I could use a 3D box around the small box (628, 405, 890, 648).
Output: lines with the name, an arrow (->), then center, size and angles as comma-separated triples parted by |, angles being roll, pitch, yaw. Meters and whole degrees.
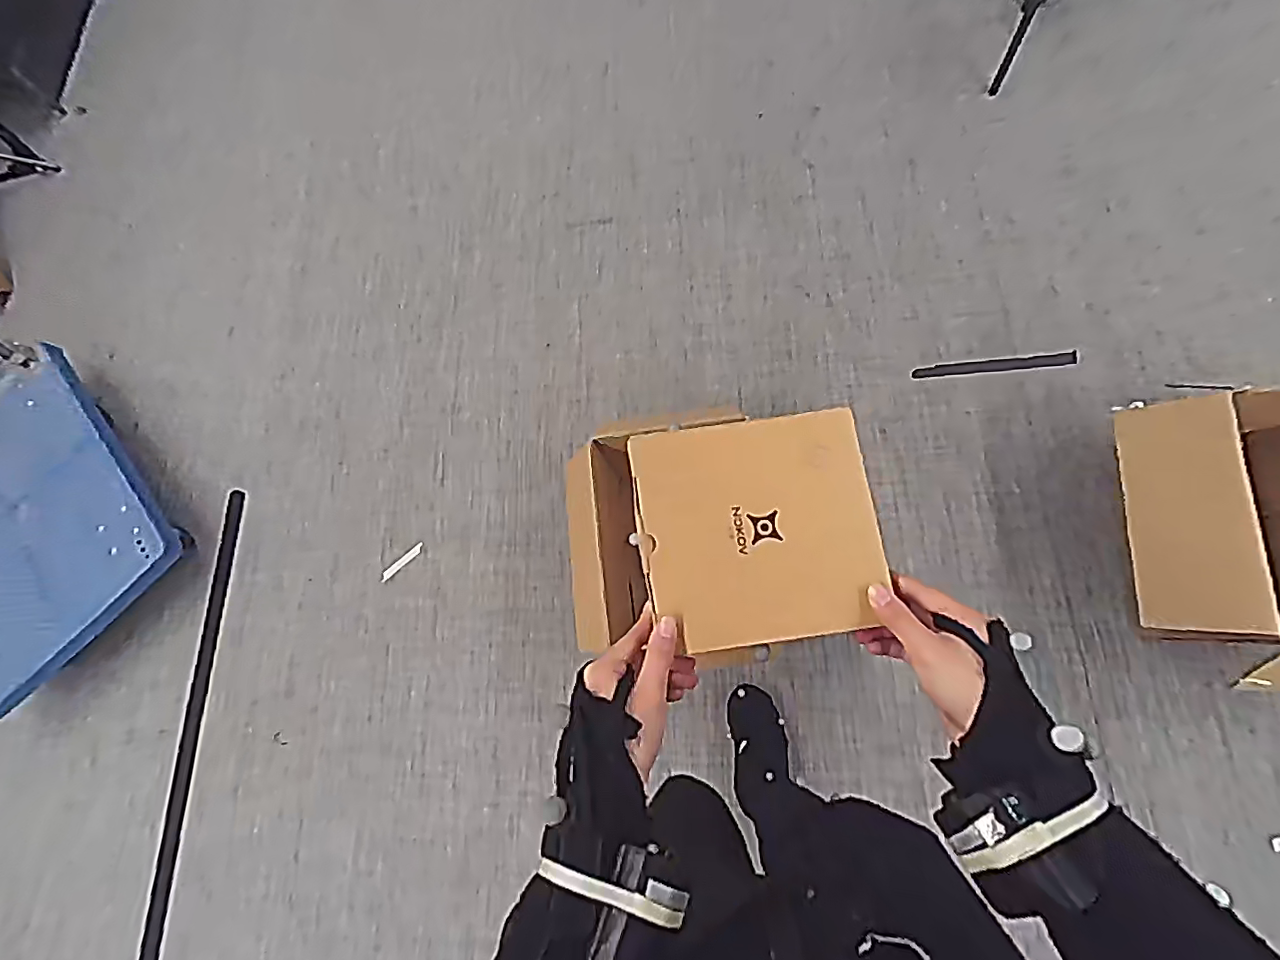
small box -> 0.088, 0.046, 0.483 | 0.179, 0.176, 0.168 | -9, 79, 1
